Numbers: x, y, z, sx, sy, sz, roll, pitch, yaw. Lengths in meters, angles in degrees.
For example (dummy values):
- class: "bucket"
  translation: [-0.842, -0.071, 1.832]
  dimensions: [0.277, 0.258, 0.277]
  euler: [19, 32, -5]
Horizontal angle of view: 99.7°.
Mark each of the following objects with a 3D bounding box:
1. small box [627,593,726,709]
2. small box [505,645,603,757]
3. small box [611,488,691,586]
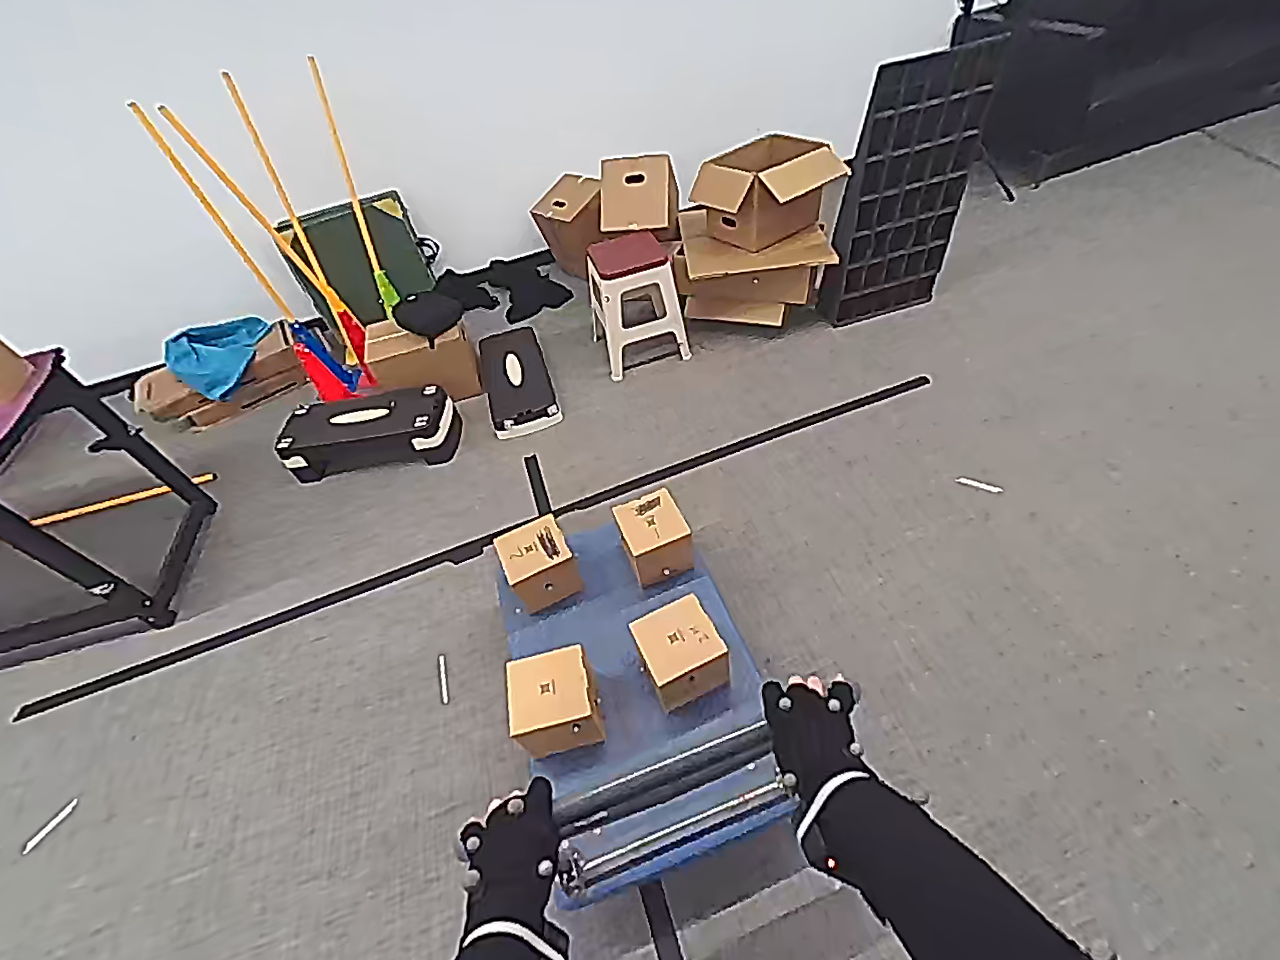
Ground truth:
- class: "small box"
  translation: [0.090, 0.405, 1.267]
  dimensions: [0.179, 0.176, 0.168]
  euler: [-24, 49, -10]
- class: "small box"
  translation: [-0.195, 0.506, 1.230]
  dimensions: [0.179, 0.176, 0.168]
  euler: [-14, 48, -4]
- class: "small box"
  translation: [0.032, 0.159, 1.494]
  dimensions: [0.168, 0.176, 0.179]
  euler: [-22, 50, -9]
